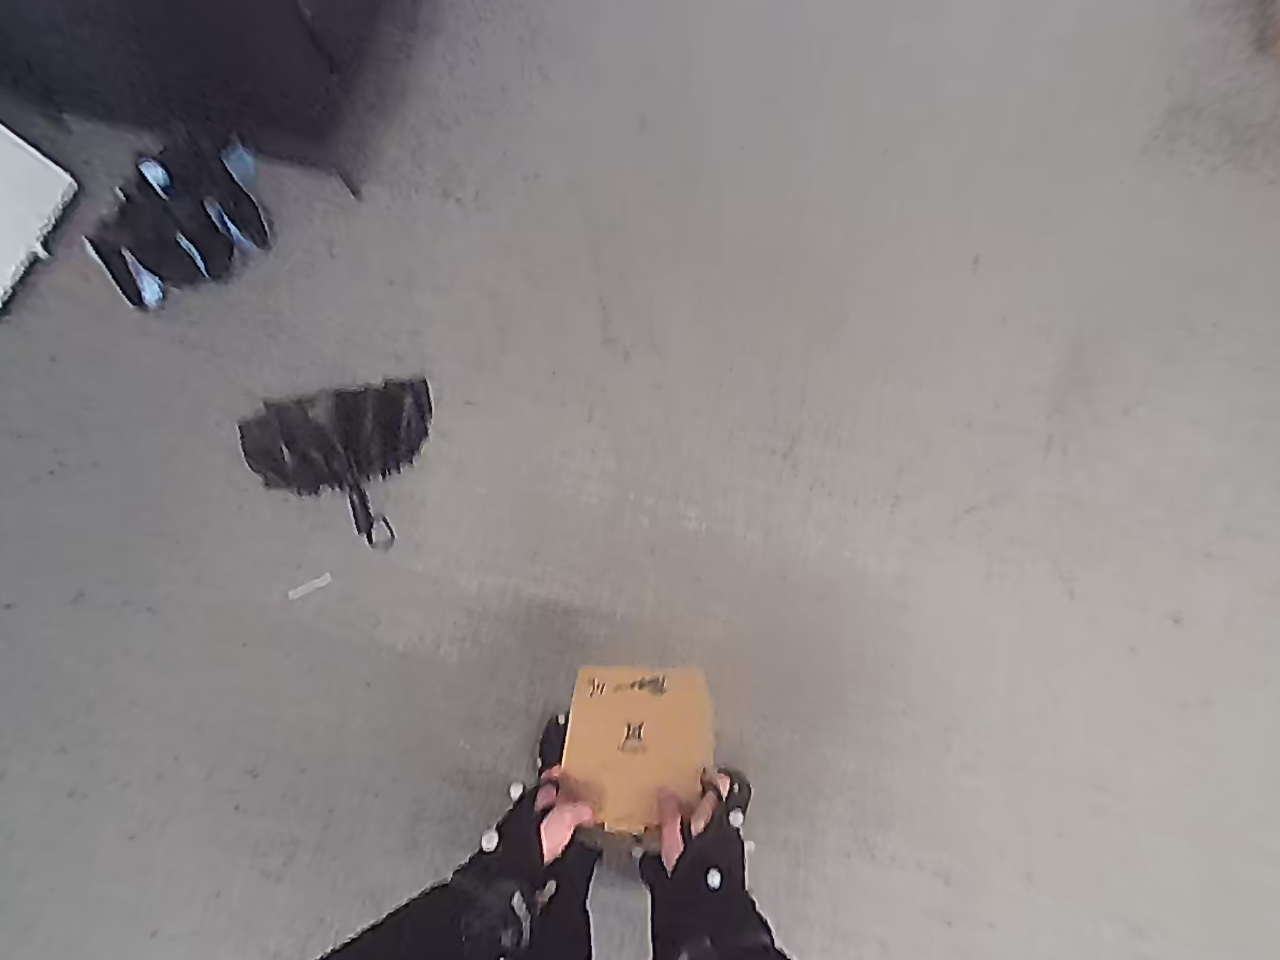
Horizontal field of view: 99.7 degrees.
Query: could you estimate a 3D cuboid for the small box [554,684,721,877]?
[{"bbox_3d":[0.010,0.370,0.666,0.168,0.176,0.179,-4,47,11],"label":"small box"}]
